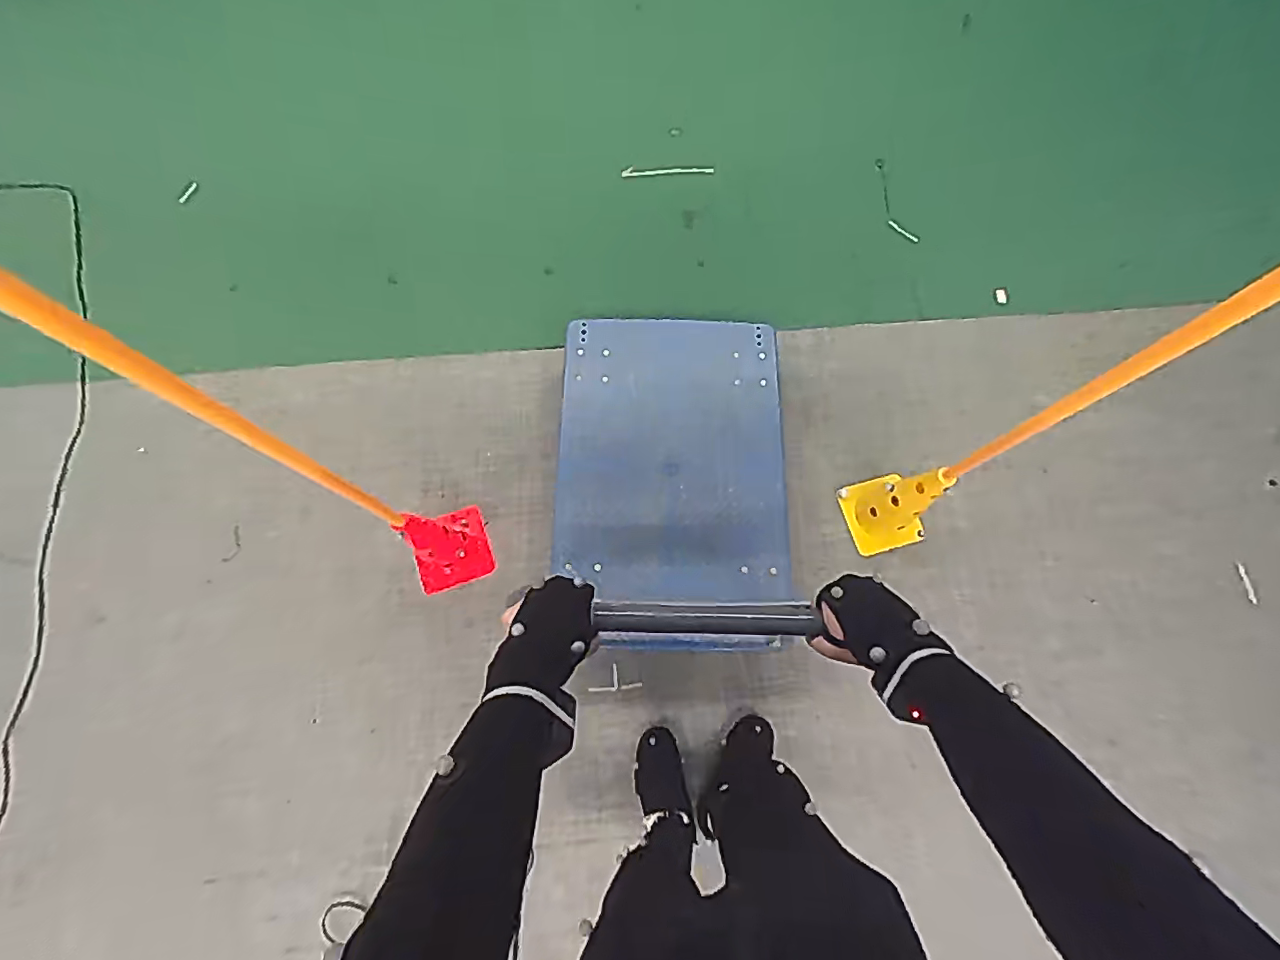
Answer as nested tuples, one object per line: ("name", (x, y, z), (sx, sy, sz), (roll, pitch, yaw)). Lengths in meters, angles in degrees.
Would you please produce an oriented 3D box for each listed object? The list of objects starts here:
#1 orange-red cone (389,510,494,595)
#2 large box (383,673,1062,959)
("orange-red cone", (-0.510, 0.144, 1.302), (0.199, 0.360, 0.198), (-19, 74, -5))
("large box", (0.046, 0.331, 0.106), (0.408, 0.320, 0.320), (32, 106, 2))
